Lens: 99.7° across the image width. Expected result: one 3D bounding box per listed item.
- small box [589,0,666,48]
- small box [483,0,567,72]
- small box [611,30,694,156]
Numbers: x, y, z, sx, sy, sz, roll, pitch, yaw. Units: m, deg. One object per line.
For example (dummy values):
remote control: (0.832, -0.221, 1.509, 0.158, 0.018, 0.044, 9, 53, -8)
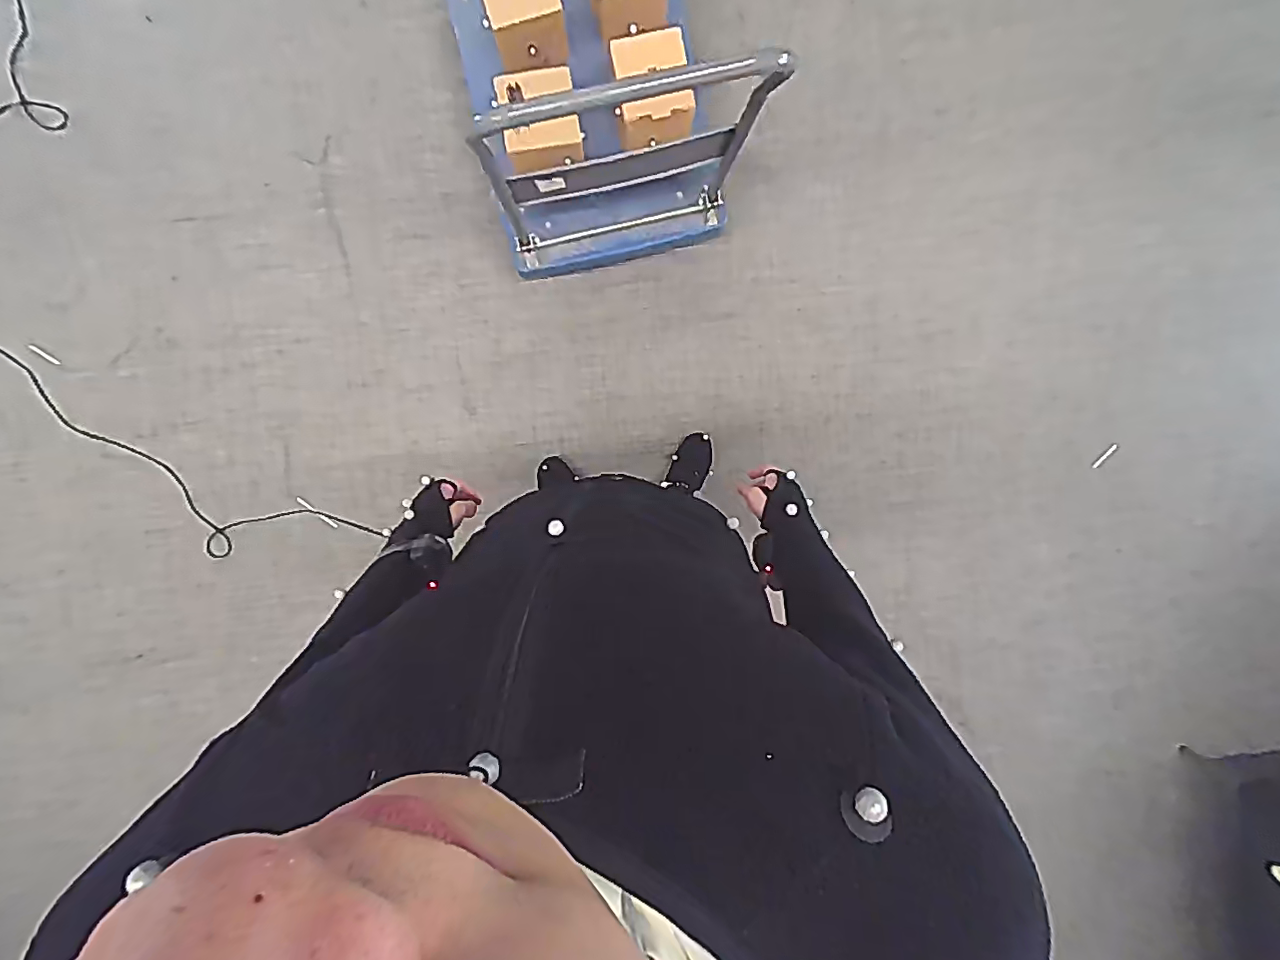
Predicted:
small box: (-0.040, -1.193, 1.287, 0.168, 0.176, 0.179, -17, 96, 1)
small box: (-0.280, -1.116, 1.286, 0.168, 0.176, 0.179, -17, 95, -1)
small box: (0.024, -0.931, 1.314, 0.168, 0.176, 0.179, -13, 96, -1)
